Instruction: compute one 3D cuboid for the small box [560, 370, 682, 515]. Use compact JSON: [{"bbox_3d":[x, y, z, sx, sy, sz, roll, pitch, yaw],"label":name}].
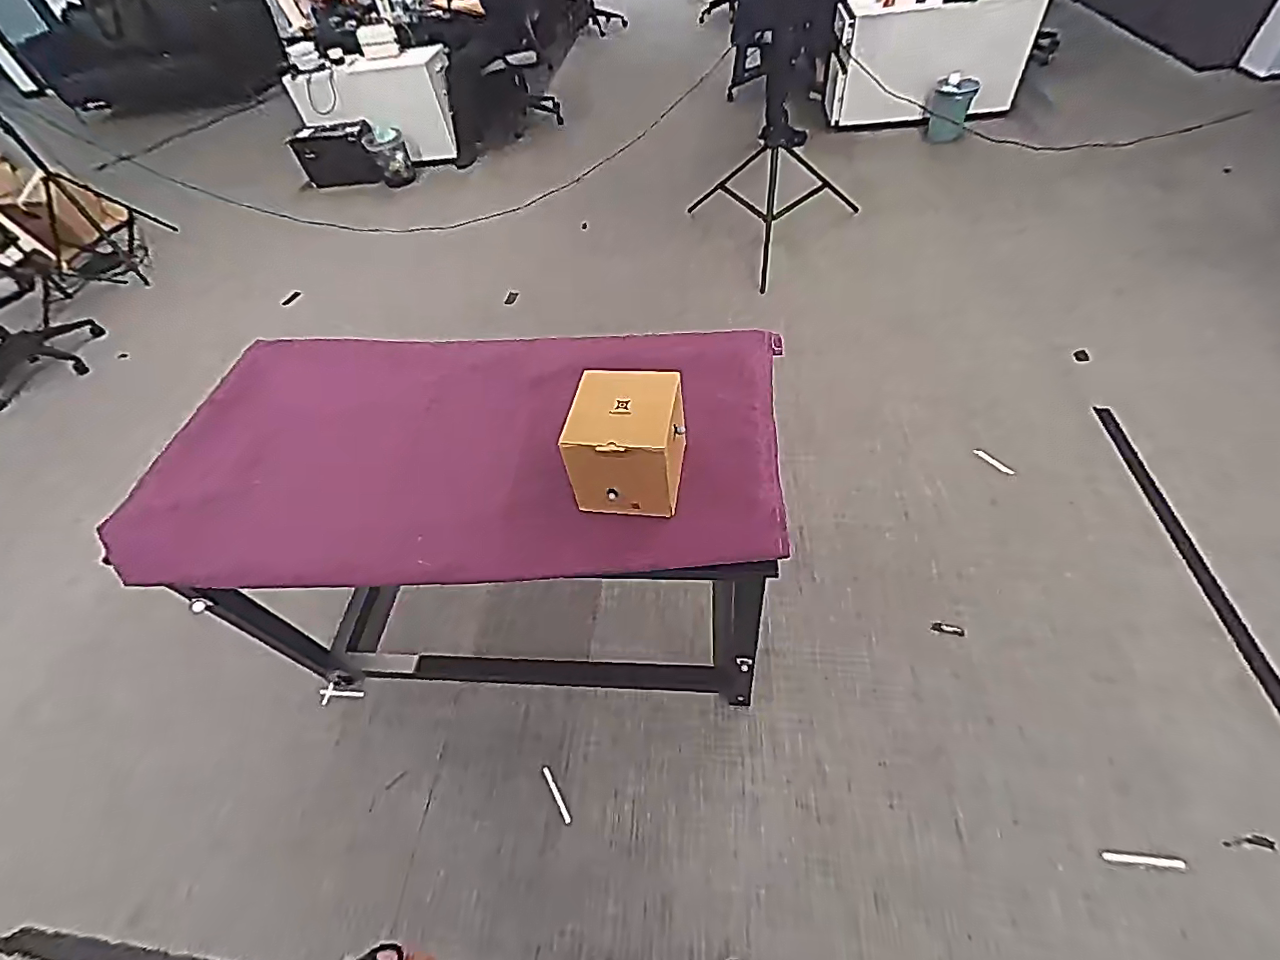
[{"bbox_3d":[-0.020,-0.063,0.911,0.168,0.176,0.179,3,51,11],"label":"small box"}]
